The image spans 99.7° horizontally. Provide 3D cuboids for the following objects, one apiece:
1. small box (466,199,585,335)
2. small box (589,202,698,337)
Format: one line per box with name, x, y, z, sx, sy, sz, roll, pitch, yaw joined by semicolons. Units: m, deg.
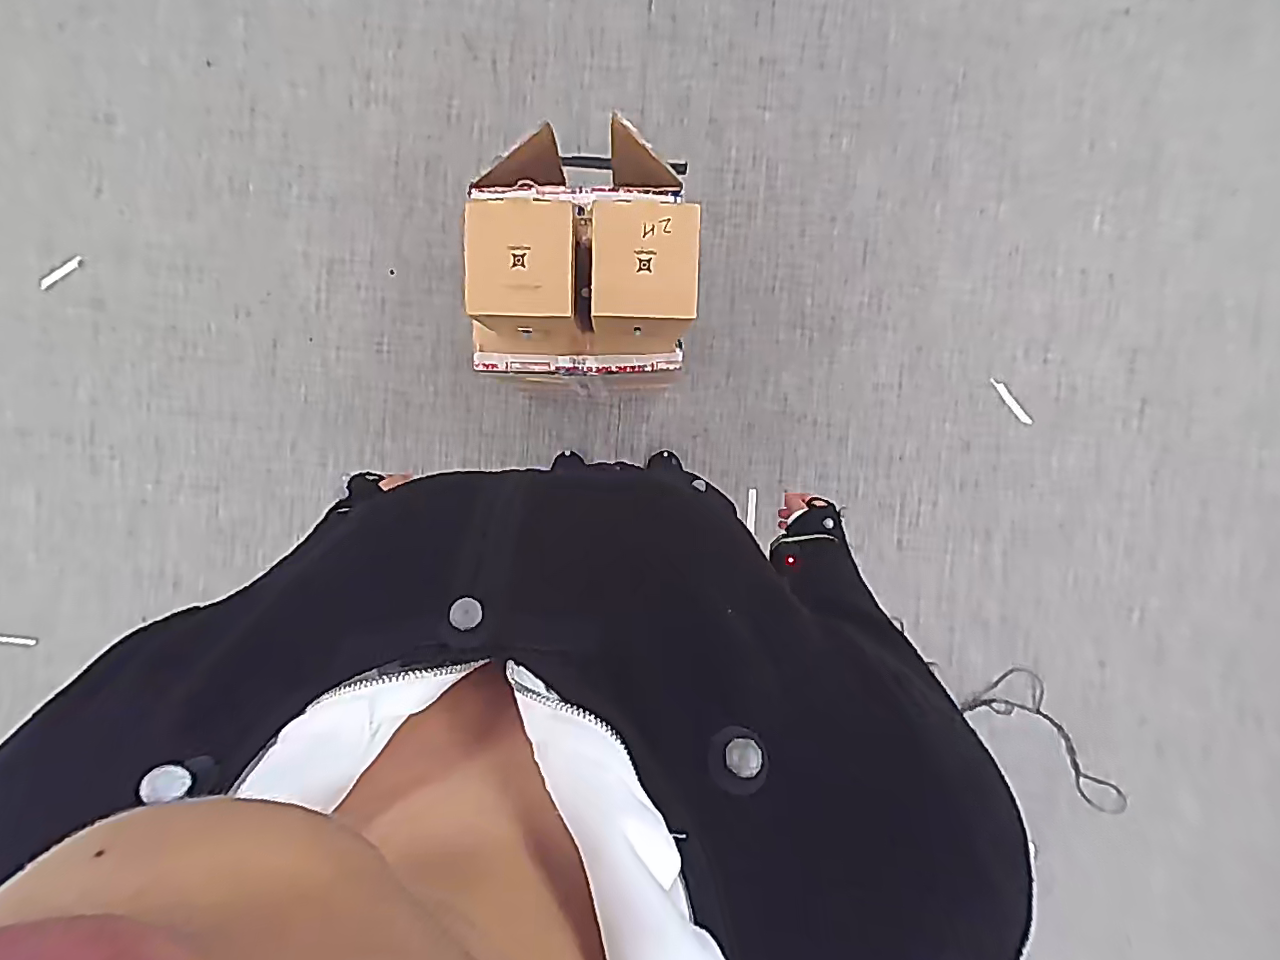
small box;-0.185;-0.347;0.908;0.168;0.176;0.179;0;96;1
small box;0.003;-0.342;0.911;0.168;0.176;0.179;1;94;-3
